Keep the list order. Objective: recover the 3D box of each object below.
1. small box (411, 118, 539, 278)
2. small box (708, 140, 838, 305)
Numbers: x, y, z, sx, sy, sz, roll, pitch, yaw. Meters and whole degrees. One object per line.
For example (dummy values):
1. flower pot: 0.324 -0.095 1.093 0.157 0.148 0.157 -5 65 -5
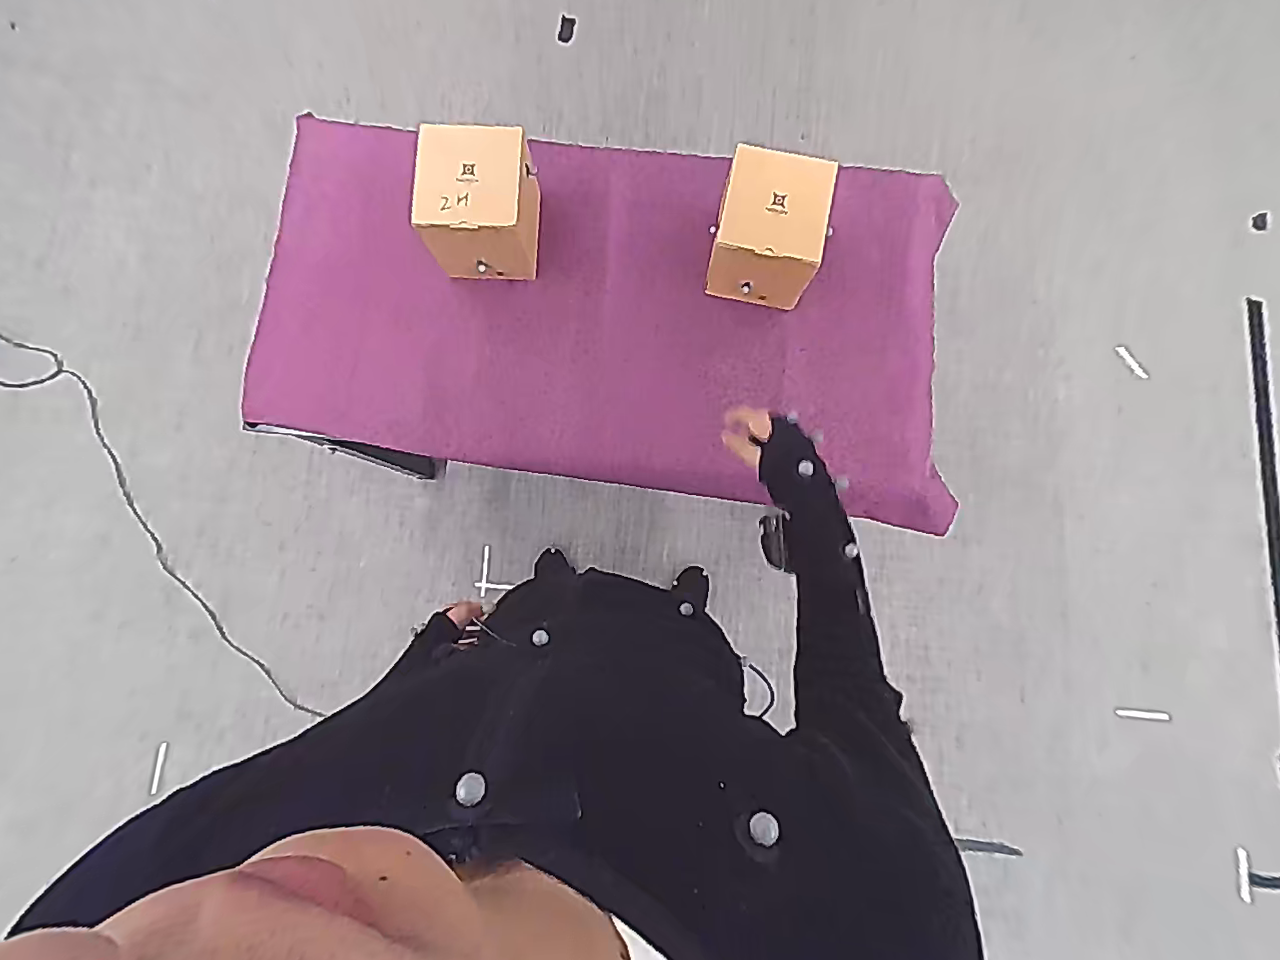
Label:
1. small box: -0.269 -0.472 0.922 0.168 0.176 0.179 2 83 0
2. small box: 0.216 -0.427 0.920 0.168 0.176 0.179 12 84 2
